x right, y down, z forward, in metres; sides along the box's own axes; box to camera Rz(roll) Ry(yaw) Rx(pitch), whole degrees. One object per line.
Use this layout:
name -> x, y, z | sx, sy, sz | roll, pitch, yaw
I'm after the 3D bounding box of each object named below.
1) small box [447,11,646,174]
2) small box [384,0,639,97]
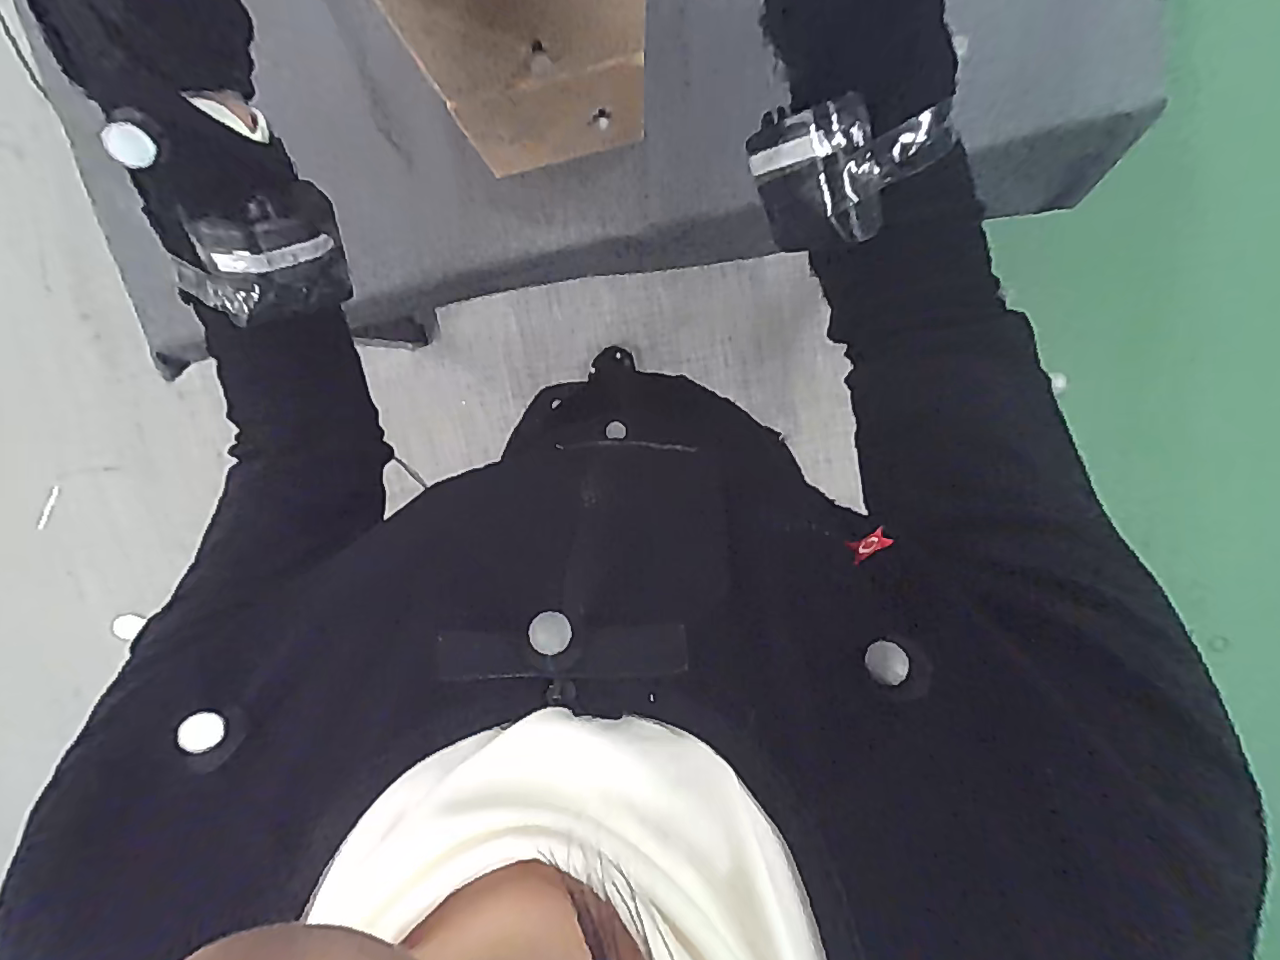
small box -> -0.097, -0.430, 0.526 | 0.179, 0.176, 0.168 | -13, 100, 3
small box -> -0.097, -0.405, 0.365 | 0.179, 0.176, 0.168 | -14, 100, 1
